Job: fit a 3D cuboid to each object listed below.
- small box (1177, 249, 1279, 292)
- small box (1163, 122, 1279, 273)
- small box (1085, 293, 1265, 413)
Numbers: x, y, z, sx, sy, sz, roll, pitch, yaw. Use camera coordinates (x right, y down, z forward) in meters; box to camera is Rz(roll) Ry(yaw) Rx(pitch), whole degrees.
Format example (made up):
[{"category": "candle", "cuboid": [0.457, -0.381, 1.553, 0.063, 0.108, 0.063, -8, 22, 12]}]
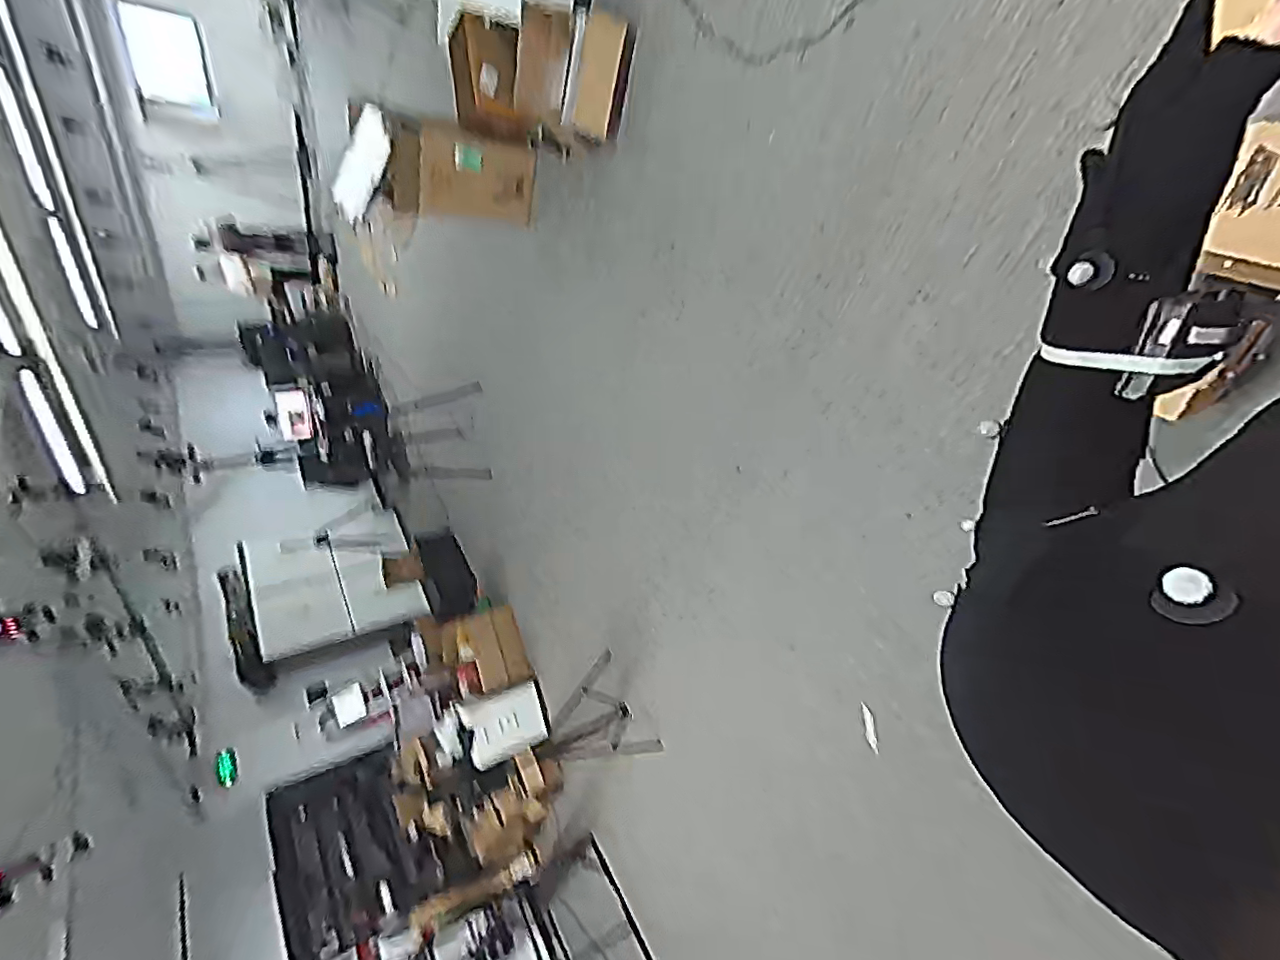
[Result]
[{"category": "small box", "cuboid": [1.080, -0.416, 0.910, 0.179, 0.176, 0.168, 42, 132, 39]}, {"category": "small box", "cuboid": [0.952, -0.411, 0.804, 0.179, 0.176, 0.168, 42, 132, 37]}, {"category": "small box", "cuboid": [1.026, -0.250, 1.039, 0.179, 0.176, 0.168, 46, 134, 37]}]
